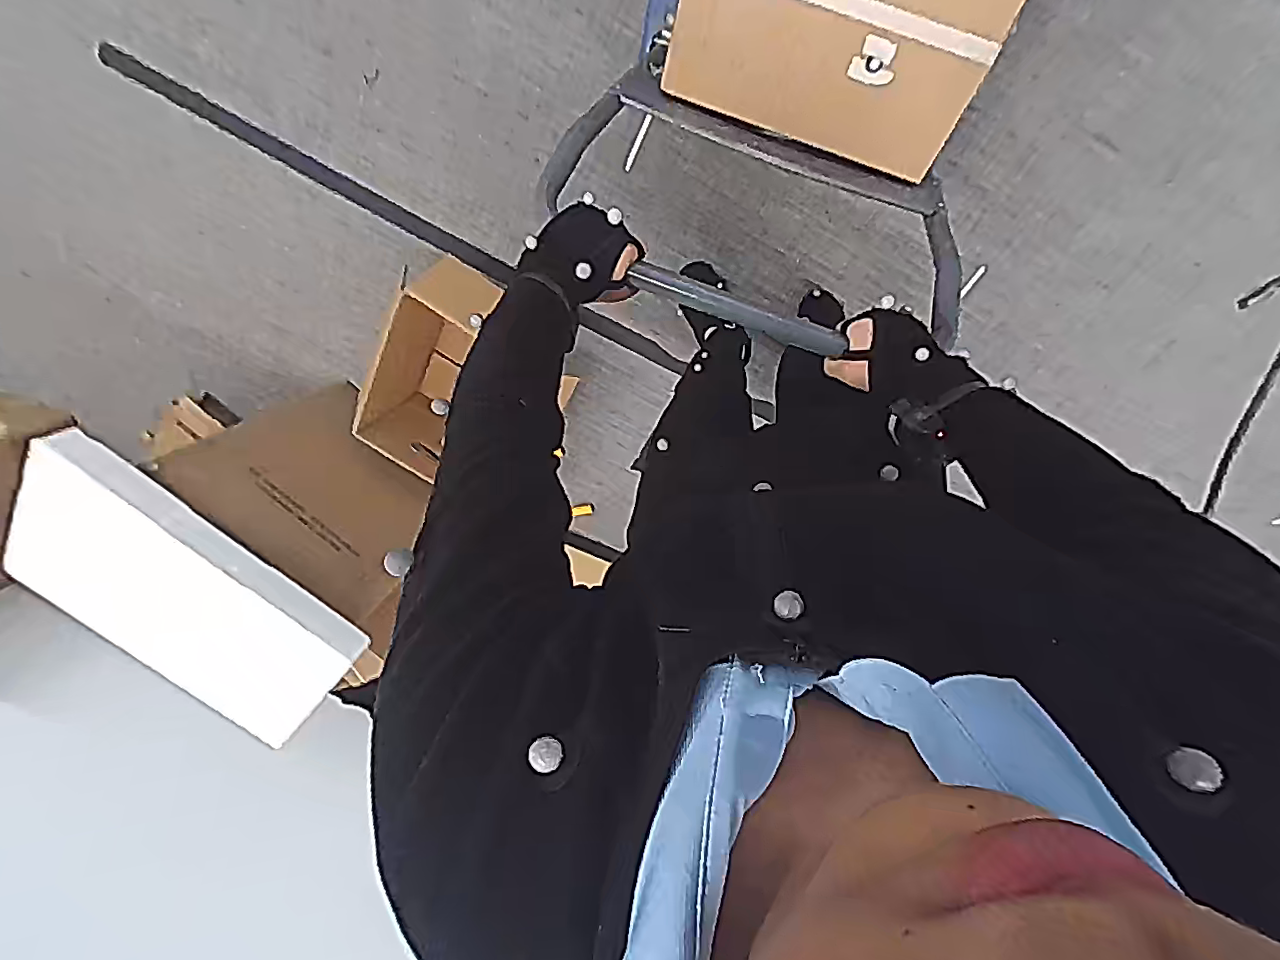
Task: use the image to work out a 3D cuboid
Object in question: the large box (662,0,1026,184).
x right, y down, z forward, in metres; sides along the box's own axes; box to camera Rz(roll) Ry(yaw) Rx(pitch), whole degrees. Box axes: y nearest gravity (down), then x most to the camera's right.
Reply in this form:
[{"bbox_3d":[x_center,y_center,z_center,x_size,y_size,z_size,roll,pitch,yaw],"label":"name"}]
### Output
[{"bbox_3d":[0.281,-0.688,0.772,0.408,0.320,0.320,19,137,-1],"label":"large box"}]
